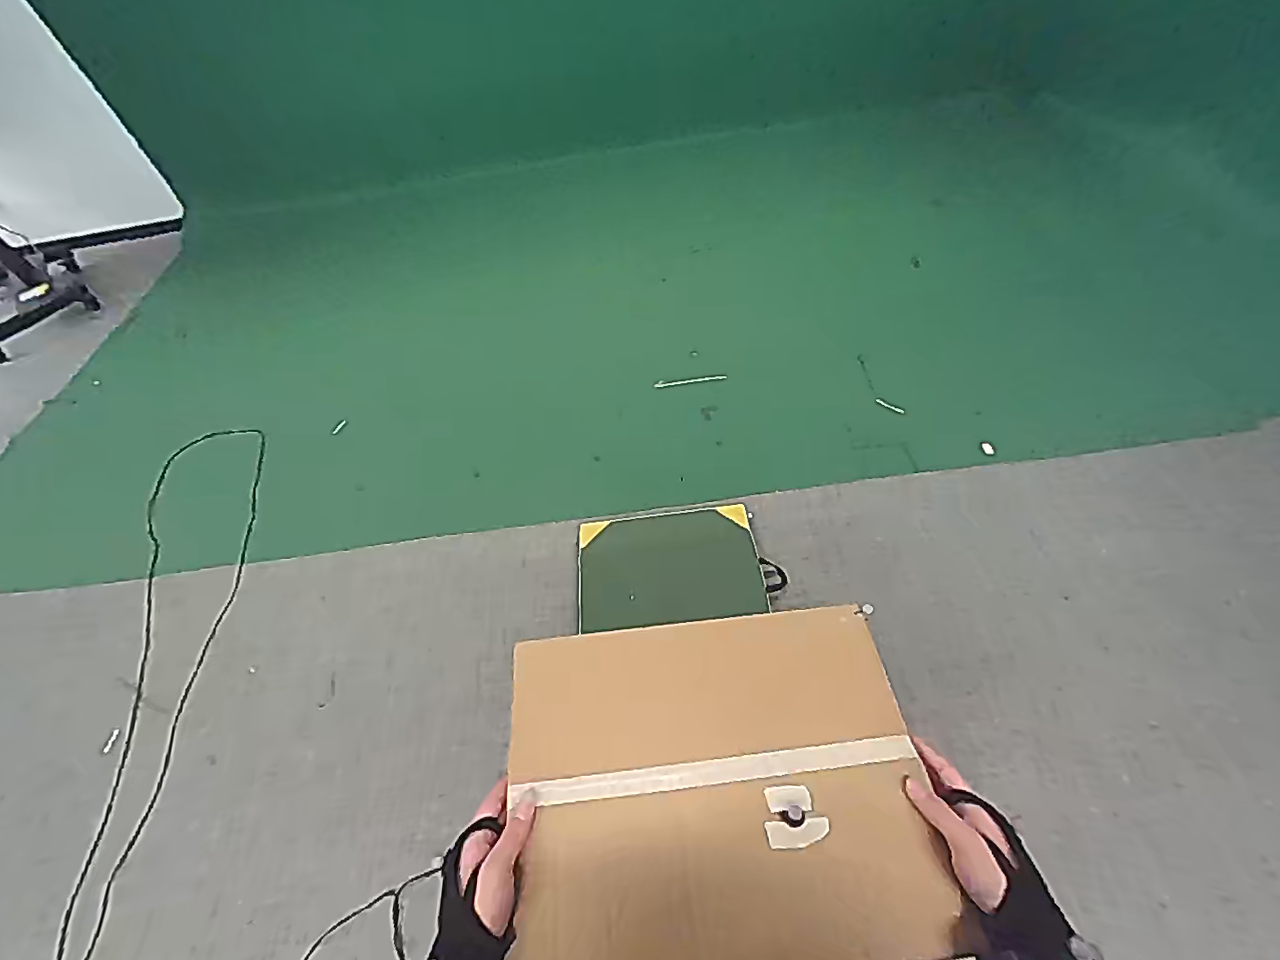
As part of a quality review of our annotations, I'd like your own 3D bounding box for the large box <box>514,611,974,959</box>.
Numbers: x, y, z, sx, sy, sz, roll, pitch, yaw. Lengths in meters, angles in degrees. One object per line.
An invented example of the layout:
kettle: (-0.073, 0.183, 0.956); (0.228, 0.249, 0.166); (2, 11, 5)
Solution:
large box: (0.078, 0.390, 0.659); (0.408, 0.320, 0.320); (-6, 52, -2)
